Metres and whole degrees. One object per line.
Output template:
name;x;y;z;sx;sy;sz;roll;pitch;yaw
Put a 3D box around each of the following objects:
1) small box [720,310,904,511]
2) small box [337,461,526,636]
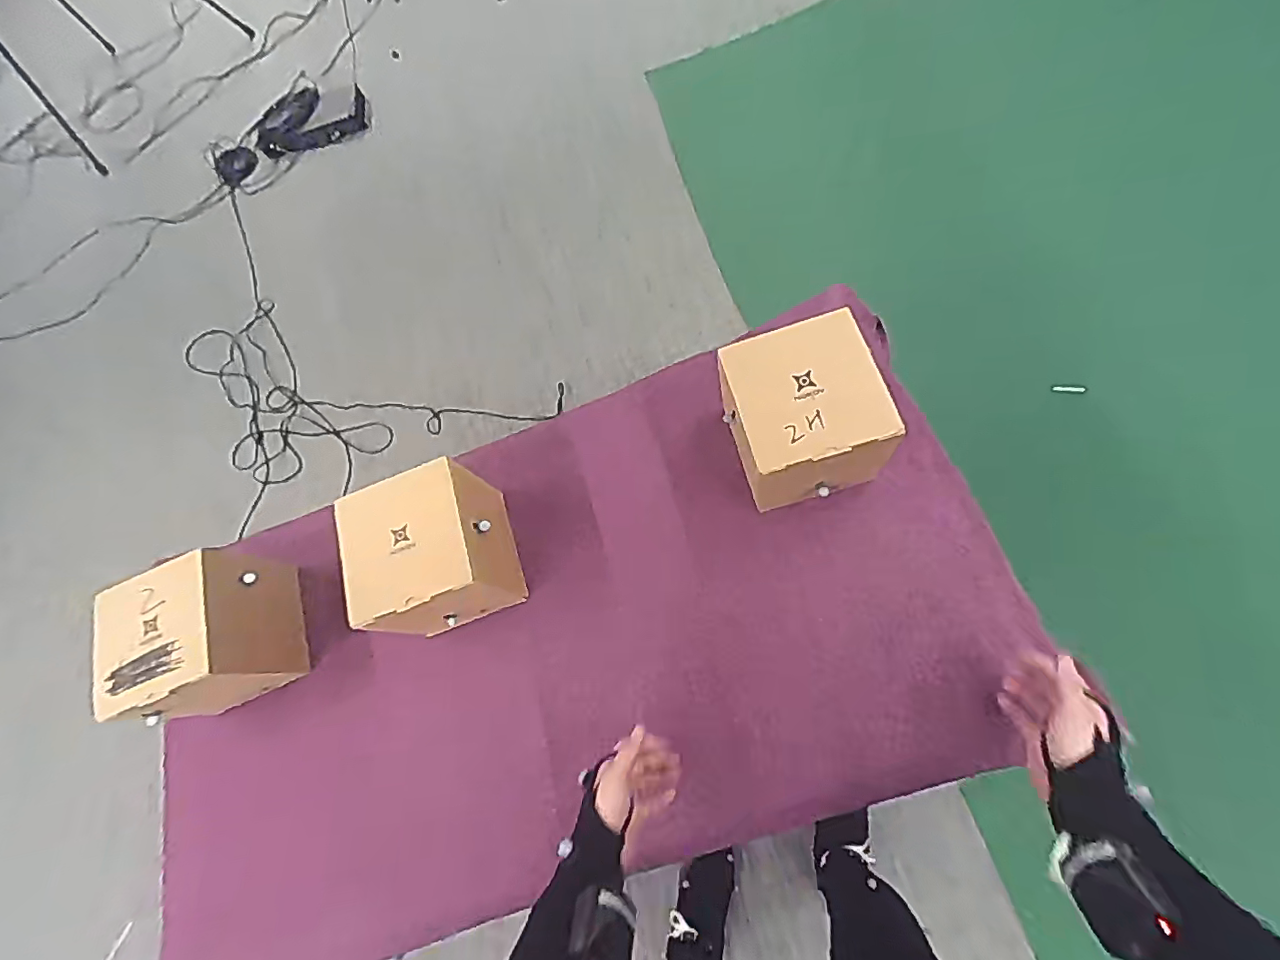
small box;0.207;-0.079;0.696;0.168;0.176;0.179;-17;69;7
small box;-0.278;0.103;0.744;0.168;0.176;0.179;-22;69;4
